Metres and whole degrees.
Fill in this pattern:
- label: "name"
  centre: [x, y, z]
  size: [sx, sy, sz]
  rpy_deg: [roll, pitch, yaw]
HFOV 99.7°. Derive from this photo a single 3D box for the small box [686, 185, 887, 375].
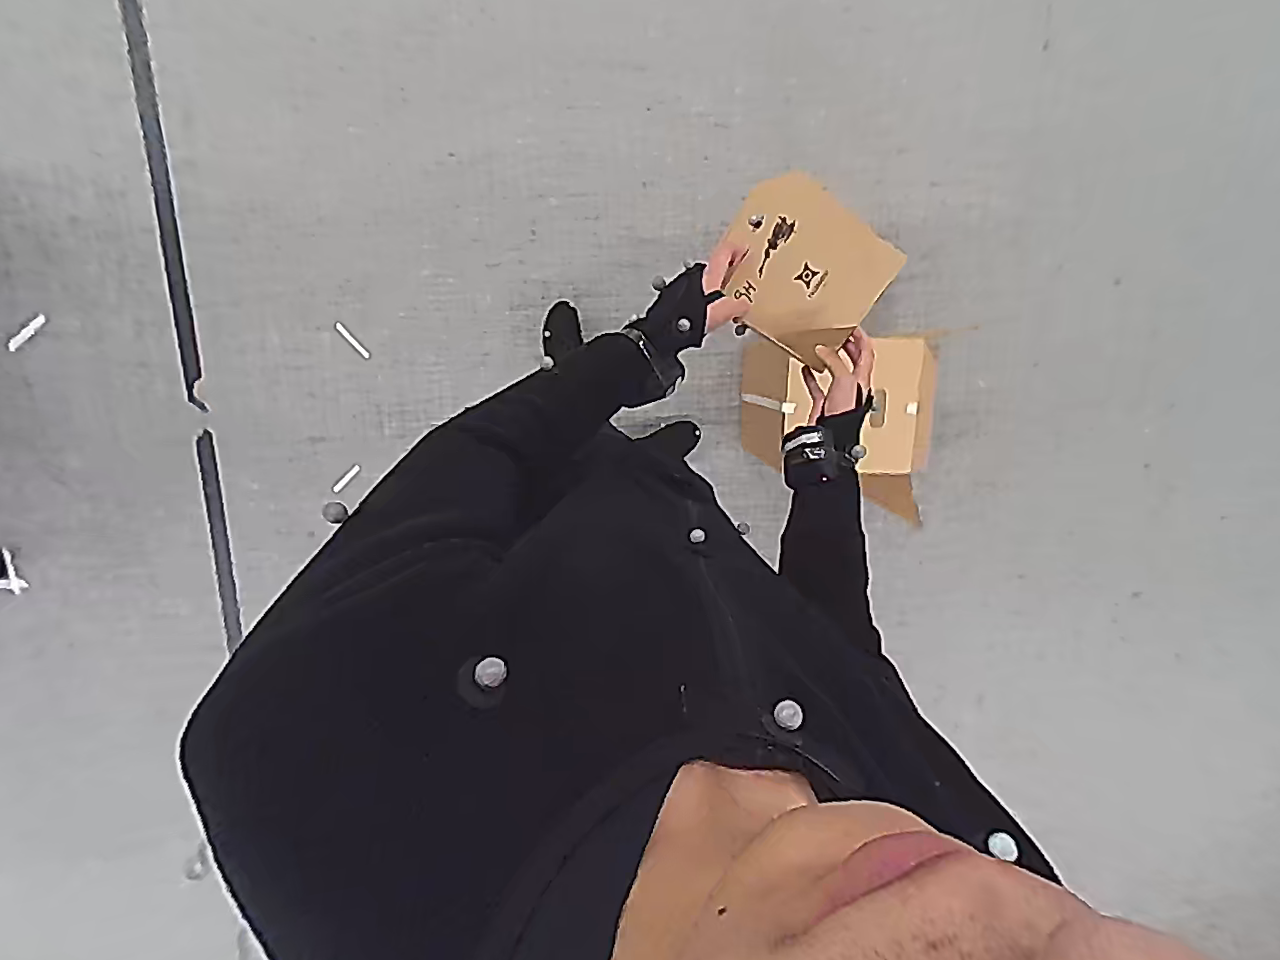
- label: "small box"
  centre: [0.186, -0.274, 0.740]
  size: [0.179, 0.176, 0.168]
  rpy_deg: [28, 109, -17]
